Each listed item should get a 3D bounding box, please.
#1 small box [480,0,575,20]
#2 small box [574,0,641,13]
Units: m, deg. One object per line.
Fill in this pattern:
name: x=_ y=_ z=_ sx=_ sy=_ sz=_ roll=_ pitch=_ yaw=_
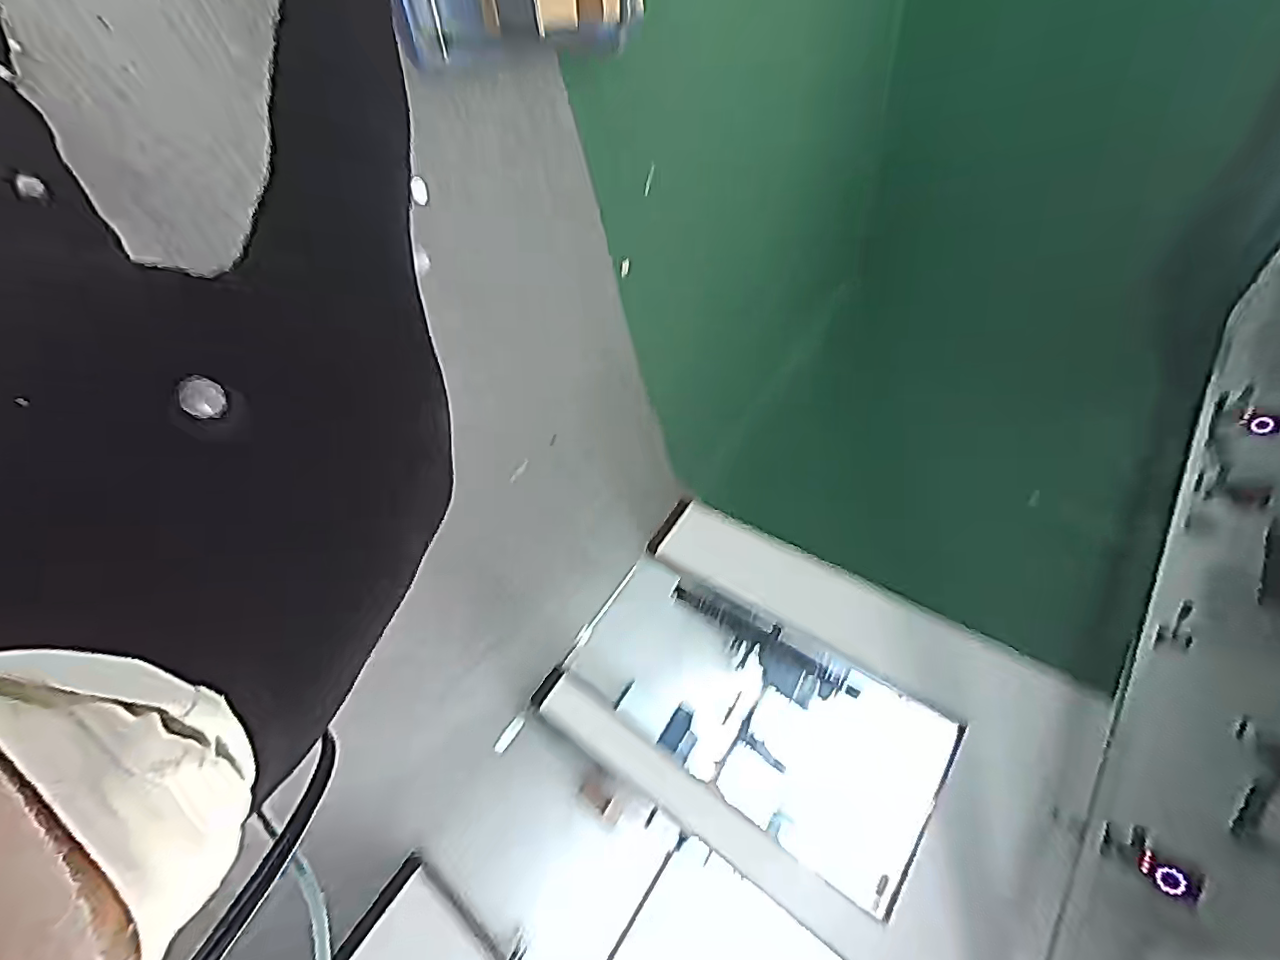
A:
small box: x=-0.289 y=-1.258 z=1.343 sx=0.179 sy=0.176 sz=0.168 roll=-41 pitch=143 yaw=-33
small box: x=-0.118 y=-1.409 z=1.488 sx=0.179 sy=0.176 sz=0.168 roll=-44 pitch=143 yaw=-29
